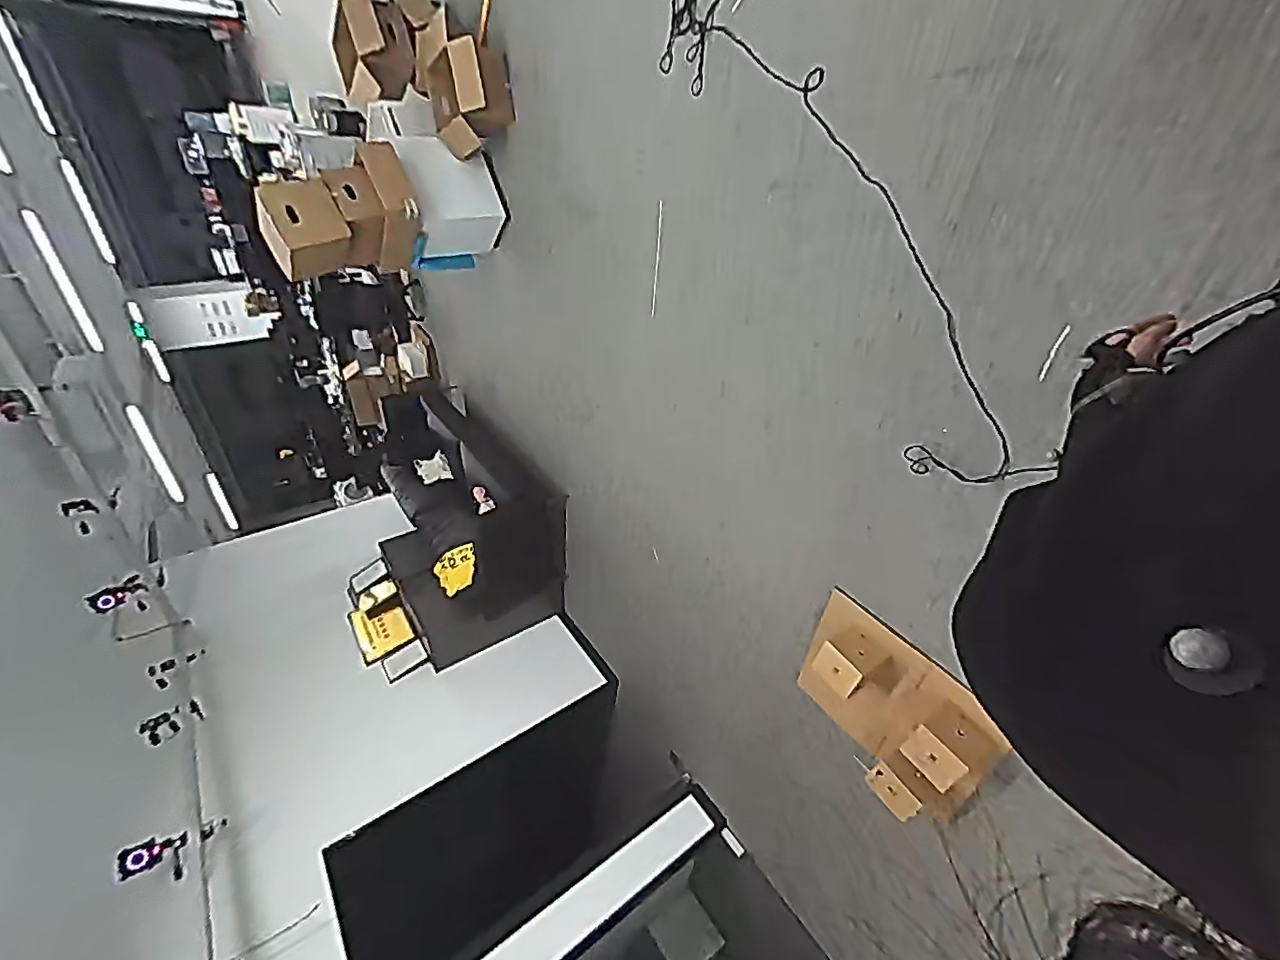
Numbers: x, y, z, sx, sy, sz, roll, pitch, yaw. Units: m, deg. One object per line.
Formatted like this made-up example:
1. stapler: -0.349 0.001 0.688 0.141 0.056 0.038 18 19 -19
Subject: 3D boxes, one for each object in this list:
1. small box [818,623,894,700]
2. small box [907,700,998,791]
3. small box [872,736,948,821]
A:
1. small box: 0.787 0.652 1.963 0.168 0.176 0.179 44 142 36
2. small box: 1.006 0.844 1.733 0.168 0.176 0.179 45 142 36
3. small box: 0.969 1.053 1.912 0.179 0.176 0.168 46 142 34
